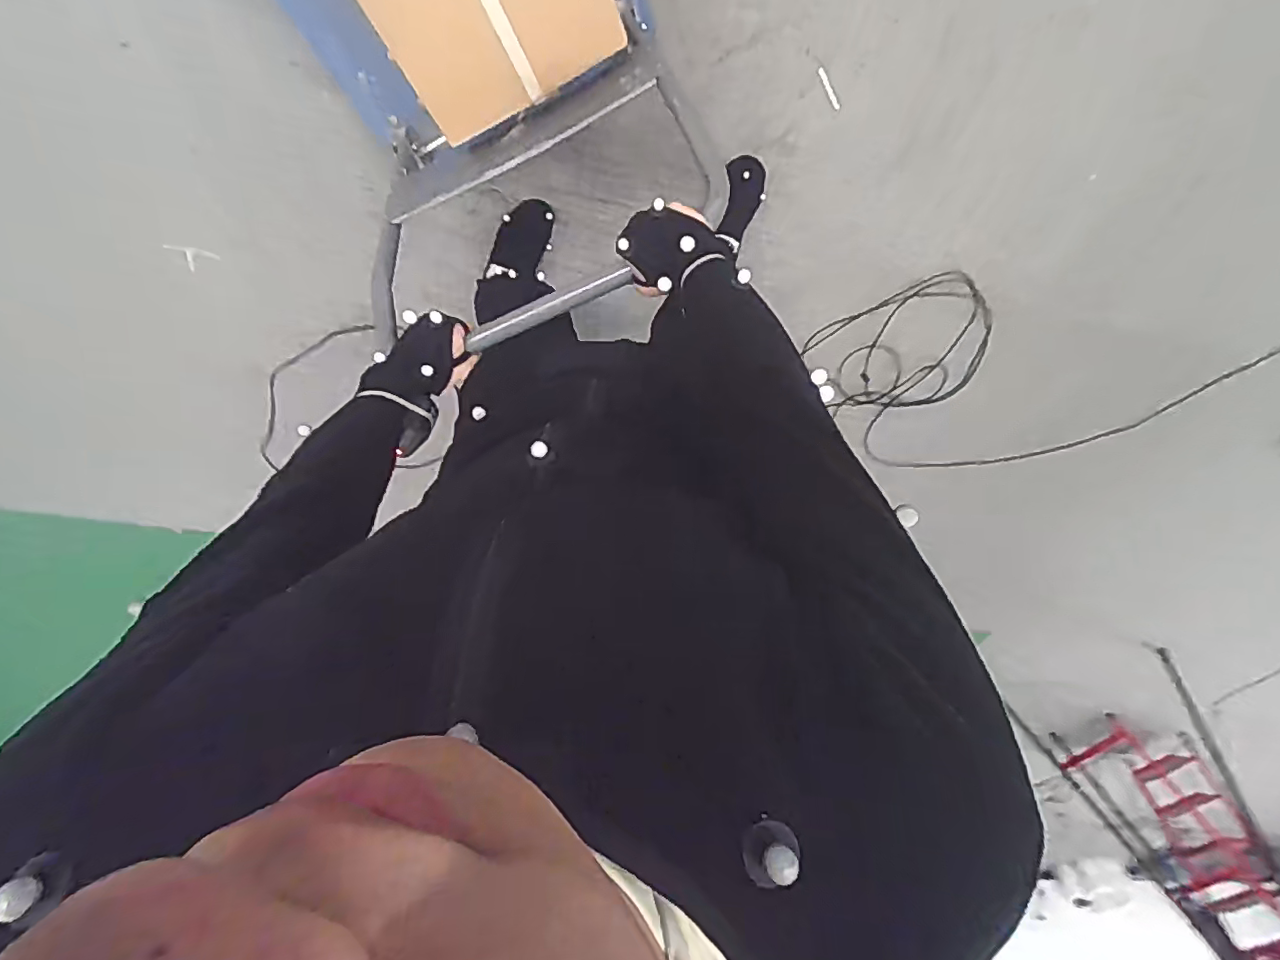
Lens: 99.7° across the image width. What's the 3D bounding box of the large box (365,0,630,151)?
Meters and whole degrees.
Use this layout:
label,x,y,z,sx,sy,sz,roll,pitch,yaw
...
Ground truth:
label,x,y,z,sx,sy,sz,roll,pitch,yaw
large box,-0.248,-0.806,0.798,0.320,0.320,0.408,-22,138,12
